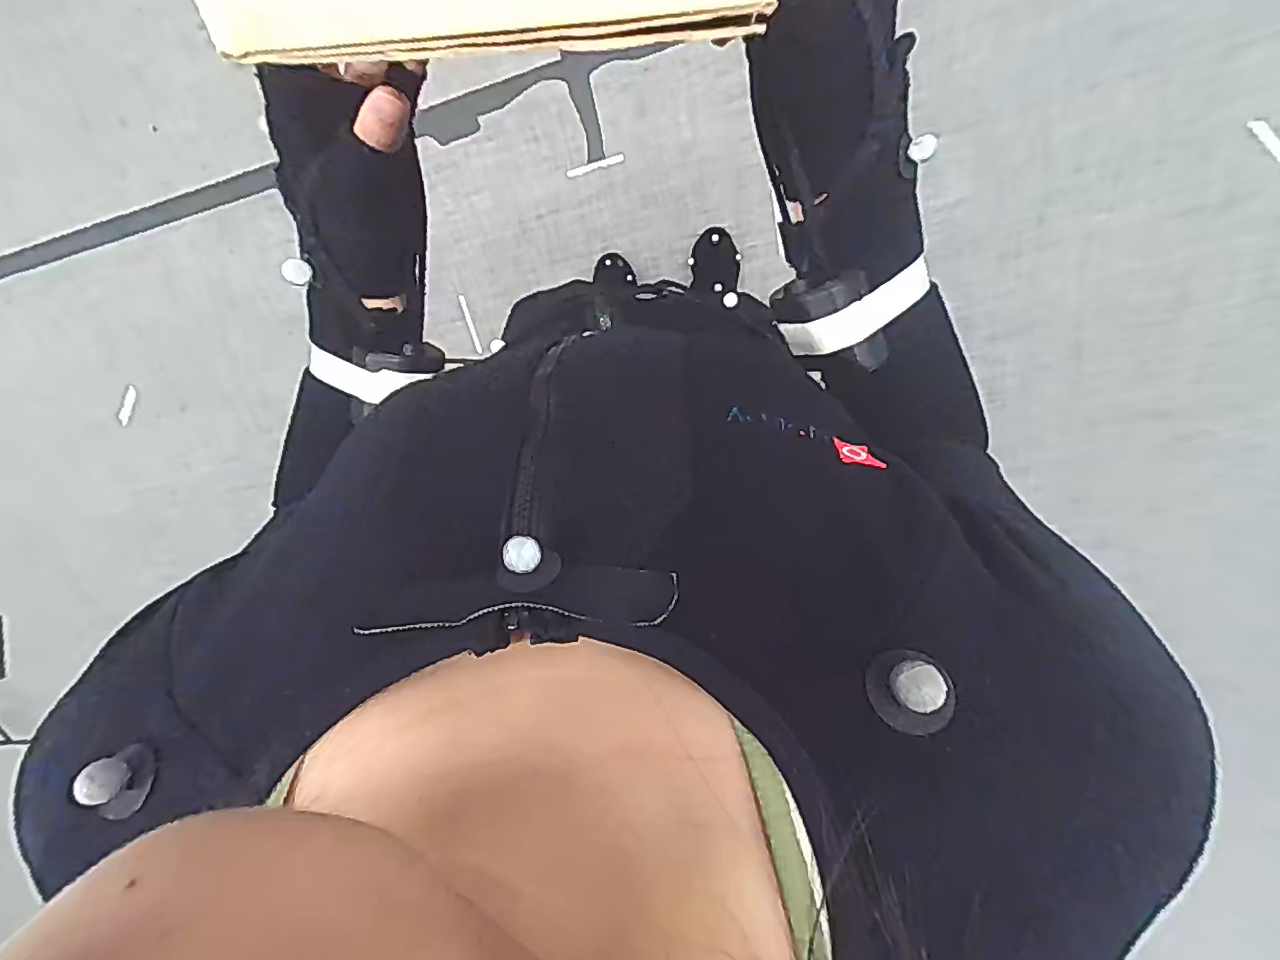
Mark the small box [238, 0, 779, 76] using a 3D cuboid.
[{"bbox_3d":[-0.050,-0.254,0.178,0.179,0.168,0.176,-4,130,2],"label":"small box"}]
